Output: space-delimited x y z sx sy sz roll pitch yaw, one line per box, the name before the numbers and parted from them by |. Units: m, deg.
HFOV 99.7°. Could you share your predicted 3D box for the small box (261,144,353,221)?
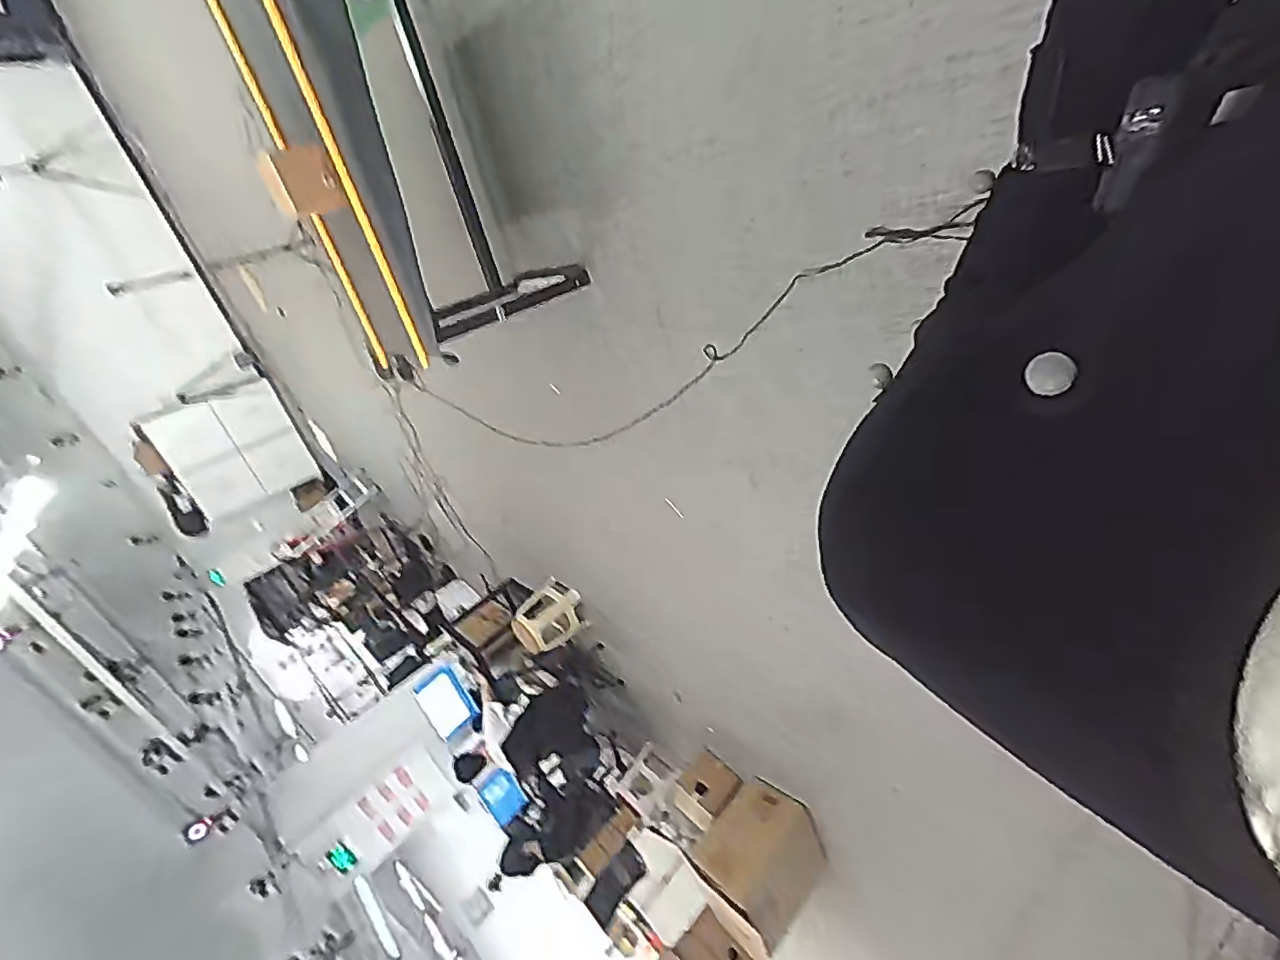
small box | -1.016 -0.909 1.658 0.179 0.176 0.168 15 131 44
